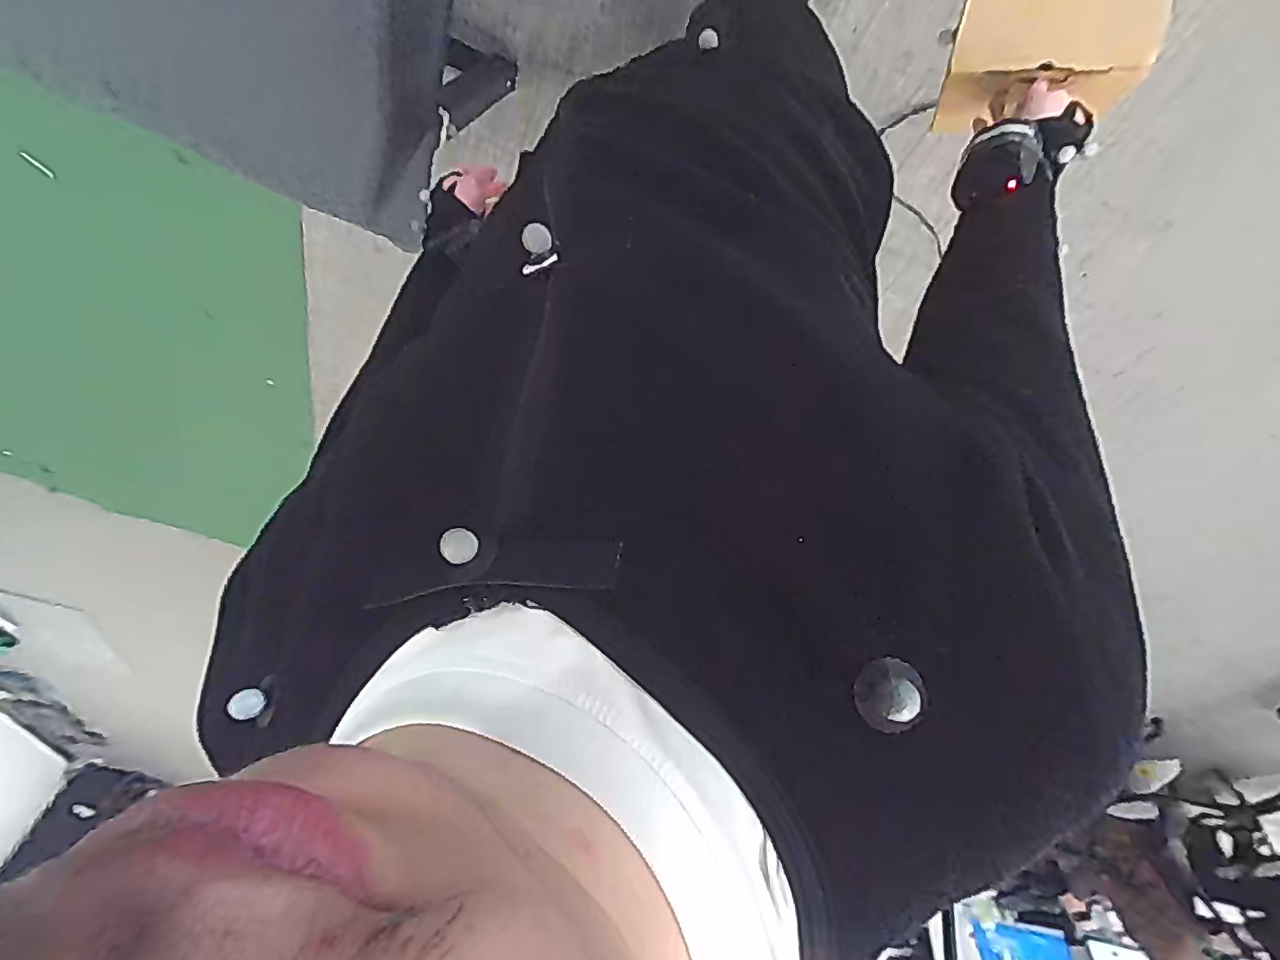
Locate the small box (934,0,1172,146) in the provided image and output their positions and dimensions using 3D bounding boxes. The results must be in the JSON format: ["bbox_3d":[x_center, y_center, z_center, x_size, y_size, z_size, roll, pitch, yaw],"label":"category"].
[{"bbox_3d":[0.420,-0.470,0.559,0.168,0.176,0.179,15,106,19],"label":"small box"}]
